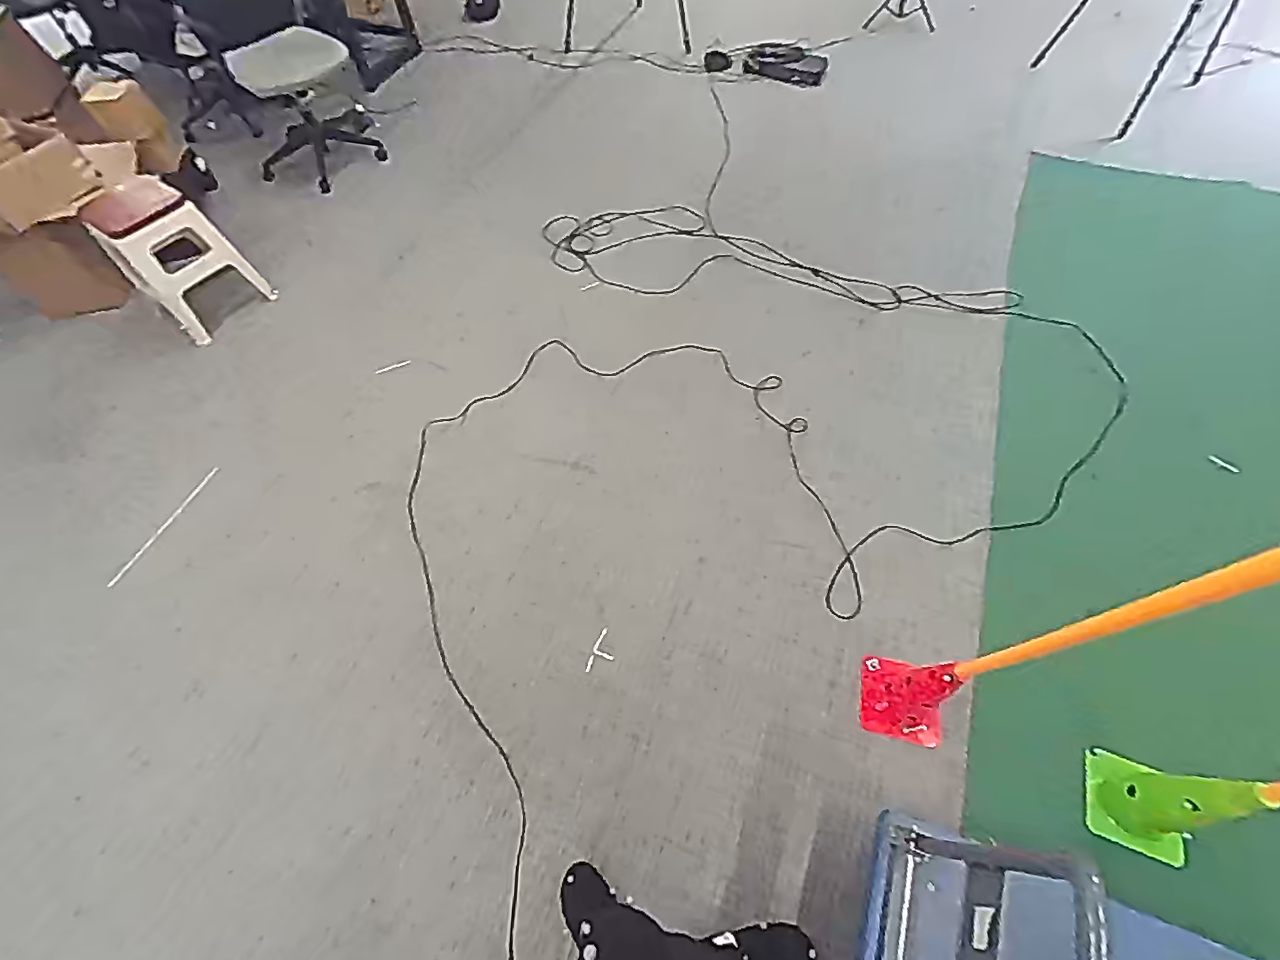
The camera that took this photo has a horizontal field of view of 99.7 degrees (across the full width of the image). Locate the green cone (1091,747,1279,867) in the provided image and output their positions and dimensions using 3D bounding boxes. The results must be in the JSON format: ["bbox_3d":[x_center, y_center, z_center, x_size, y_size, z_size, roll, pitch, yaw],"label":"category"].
[{"bbox_3d":[1.177,0.678,1.134,0.202,0.368,0.200,19,61,13],"label":"green cone"}]
